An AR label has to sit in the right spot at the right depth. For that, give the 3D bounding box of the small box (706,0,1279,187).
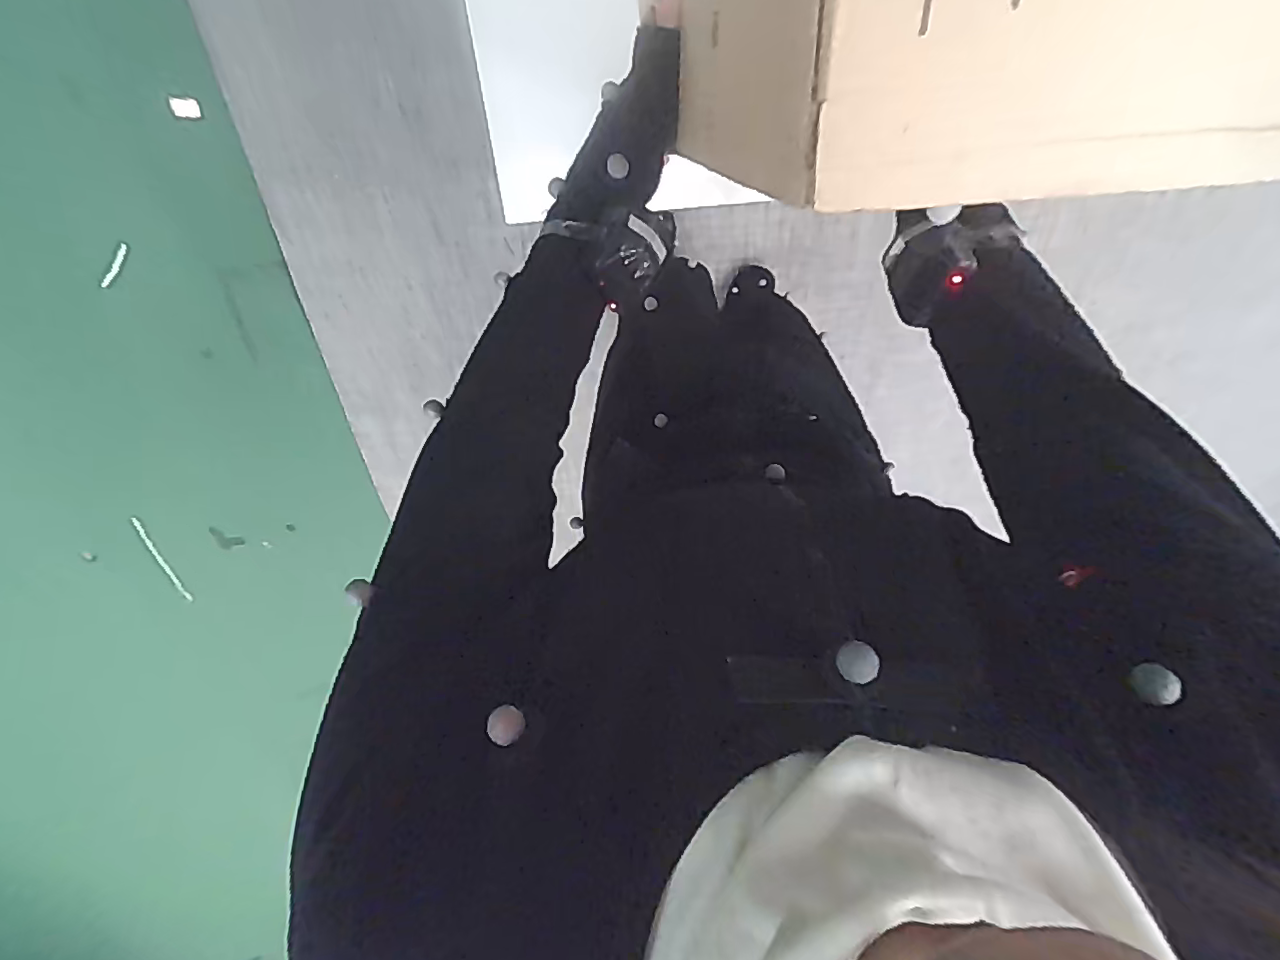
[{"bbox_3d":[0.125,-0.212,0.208,0.179,0.176,0.168,-5,123,-3],"label":"small box"}]

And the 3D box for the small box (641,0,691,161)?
[{"bbox_3d":[0.094,-0.387,0.484,0.179,0.176,0.168,-7,123,-2],"label":"small box"}]
